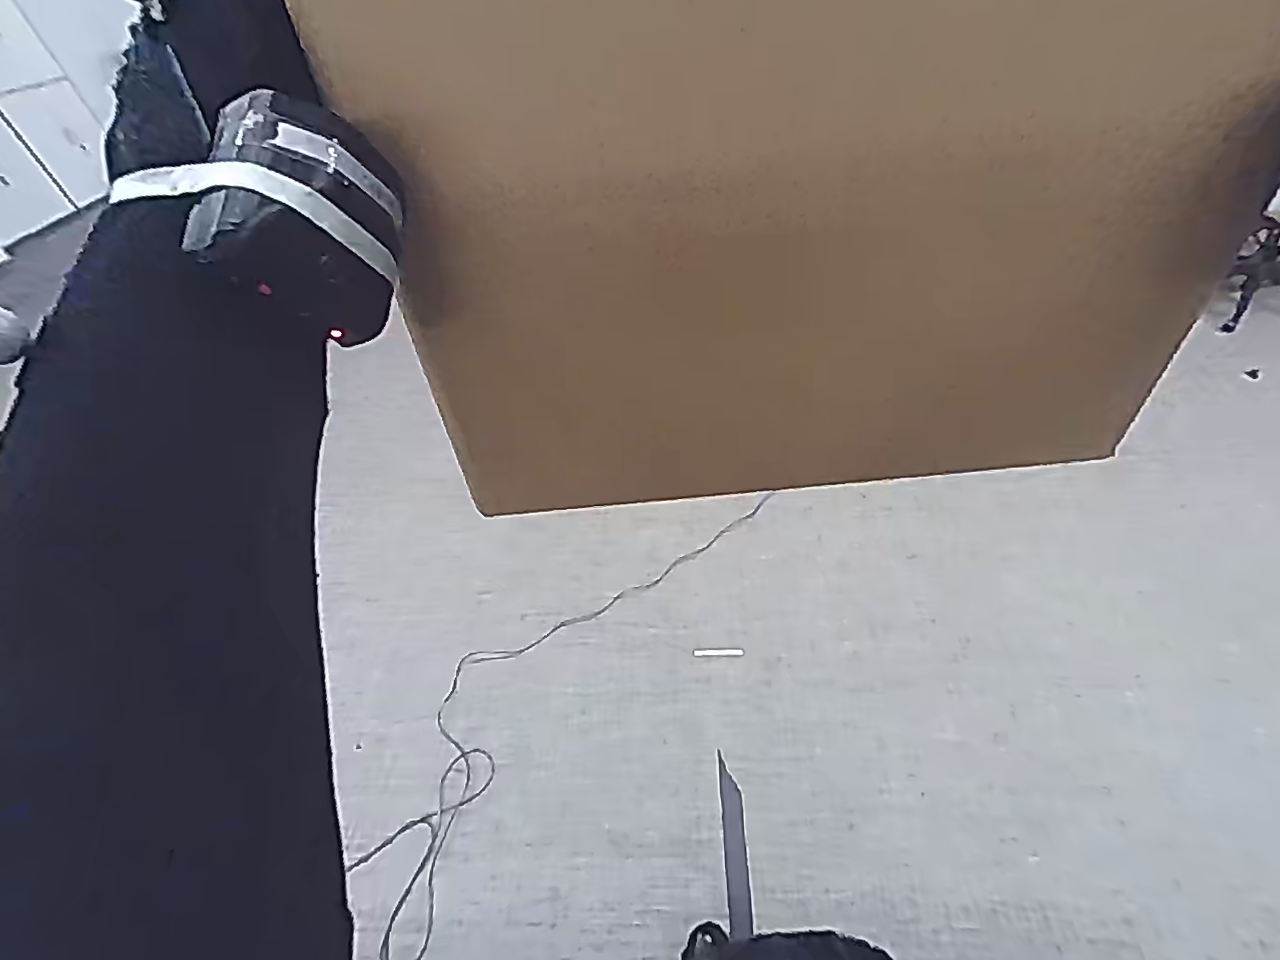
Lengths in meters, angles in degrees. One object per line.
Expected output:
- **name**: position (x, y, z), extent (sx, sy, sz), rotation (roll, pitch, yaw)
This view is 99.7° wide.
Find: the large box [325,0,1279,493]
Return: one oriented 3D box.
- **large box**: position (0.075, -0.216, 0.367), extent (0.408, 0.320, 0.320), rotation (-5, 41, -1)
